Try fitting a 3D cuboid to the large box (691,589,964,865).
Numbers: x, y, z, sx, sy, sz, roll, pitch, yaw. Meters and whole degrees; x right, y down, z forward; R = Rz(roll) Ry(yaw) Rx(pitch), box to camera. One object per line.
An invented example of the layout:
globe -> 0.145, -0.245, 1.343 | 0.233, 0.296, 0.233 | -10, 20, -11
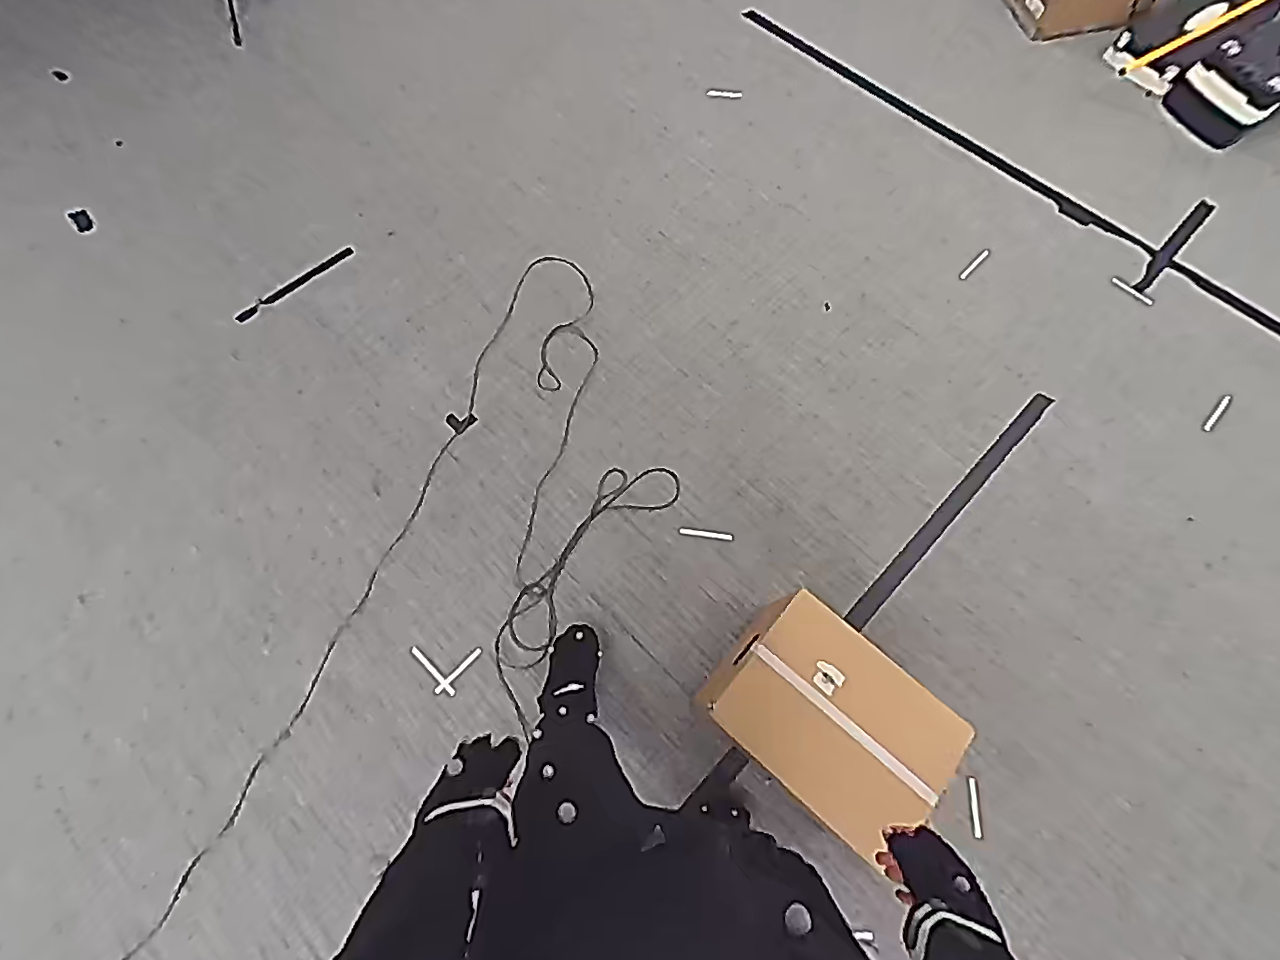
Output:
large box -> 0.366, 0.498, 1.162 | 0.408, 0.320, 0.320 | 39, 74, 13
